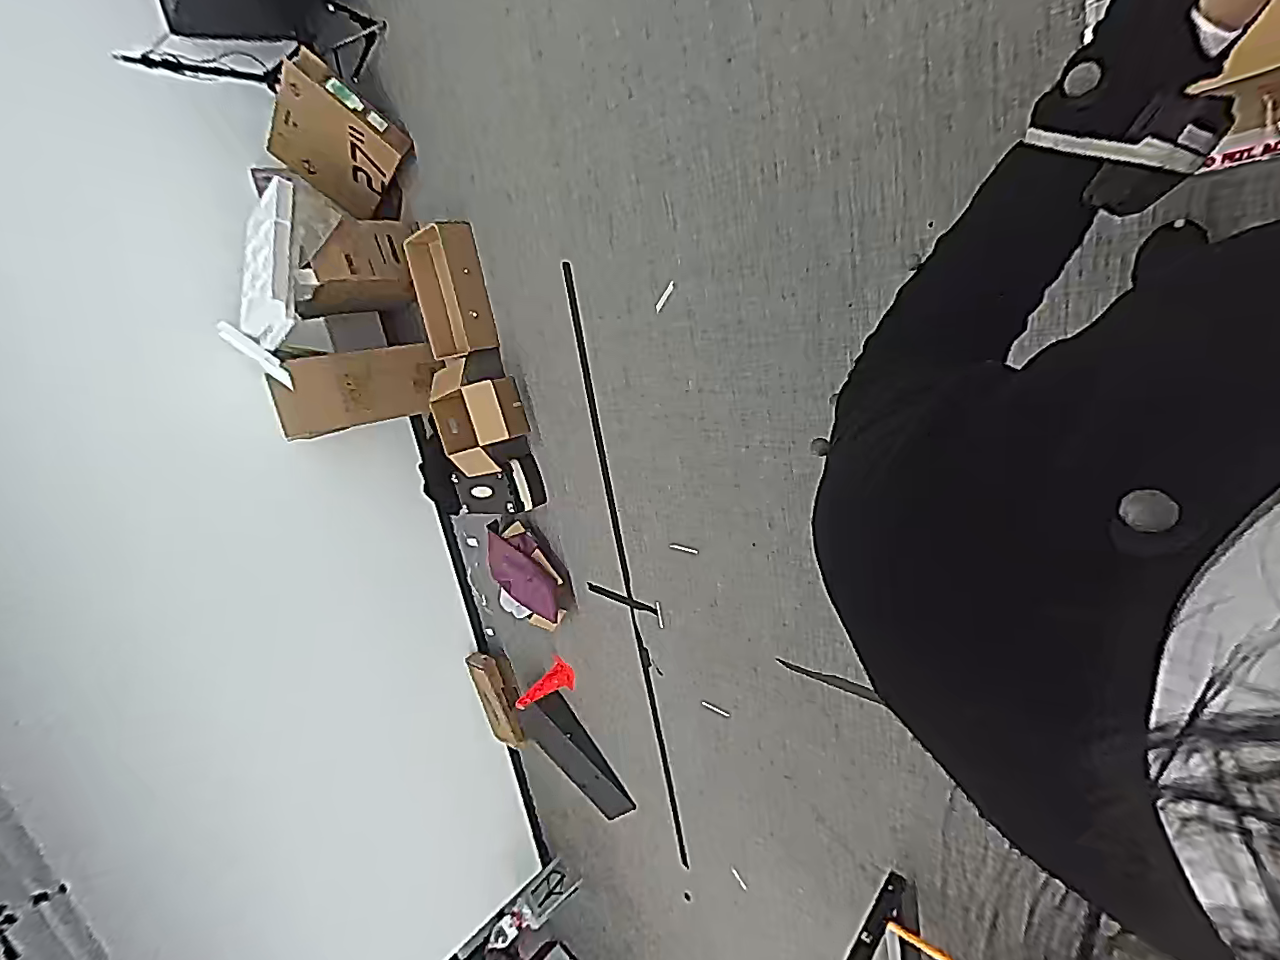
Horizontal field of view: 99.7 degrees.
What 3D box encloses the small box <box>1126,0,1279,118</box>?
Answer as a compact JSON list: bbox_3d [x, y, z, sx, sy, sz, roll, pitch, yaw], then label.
[{"bbox_3d":[0.616,-0.497,0.548,0.168,0.176,0.179,5,116,48],"label":"small box"}]
